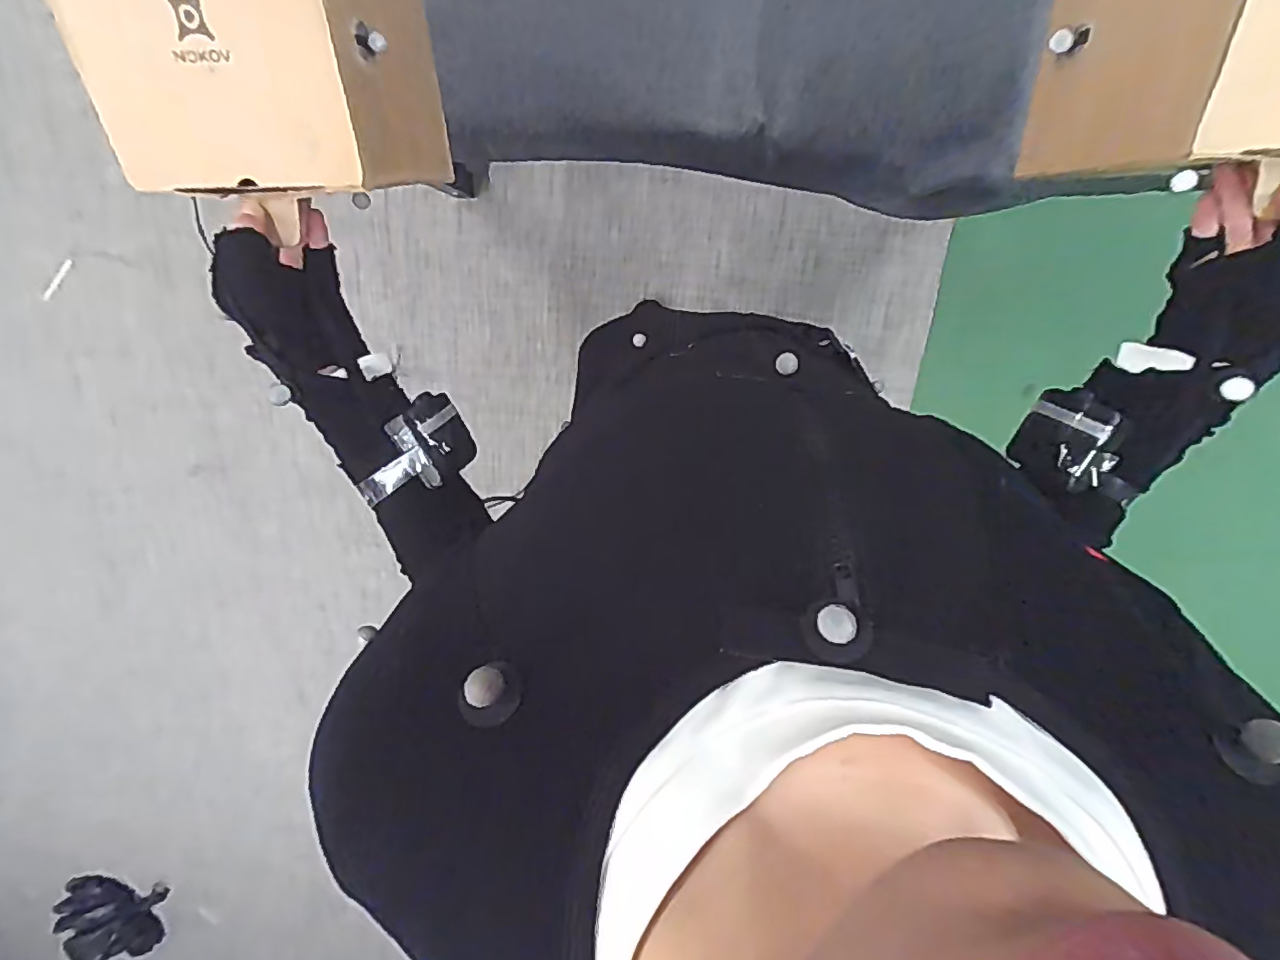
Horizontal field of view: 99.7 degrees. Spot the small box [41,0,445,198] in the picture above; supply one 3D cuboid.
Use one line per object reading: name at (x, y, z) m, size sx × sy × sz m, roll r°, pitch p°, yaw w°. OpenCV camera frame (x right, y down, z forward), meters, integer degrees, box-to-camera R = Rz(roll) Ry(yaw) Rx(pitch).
small box at (-0.256, -0.304, 0.381) m, size 0.168 × 0.176 × 0.179 m, roll 0°, pitch 120°, yaw 3°
